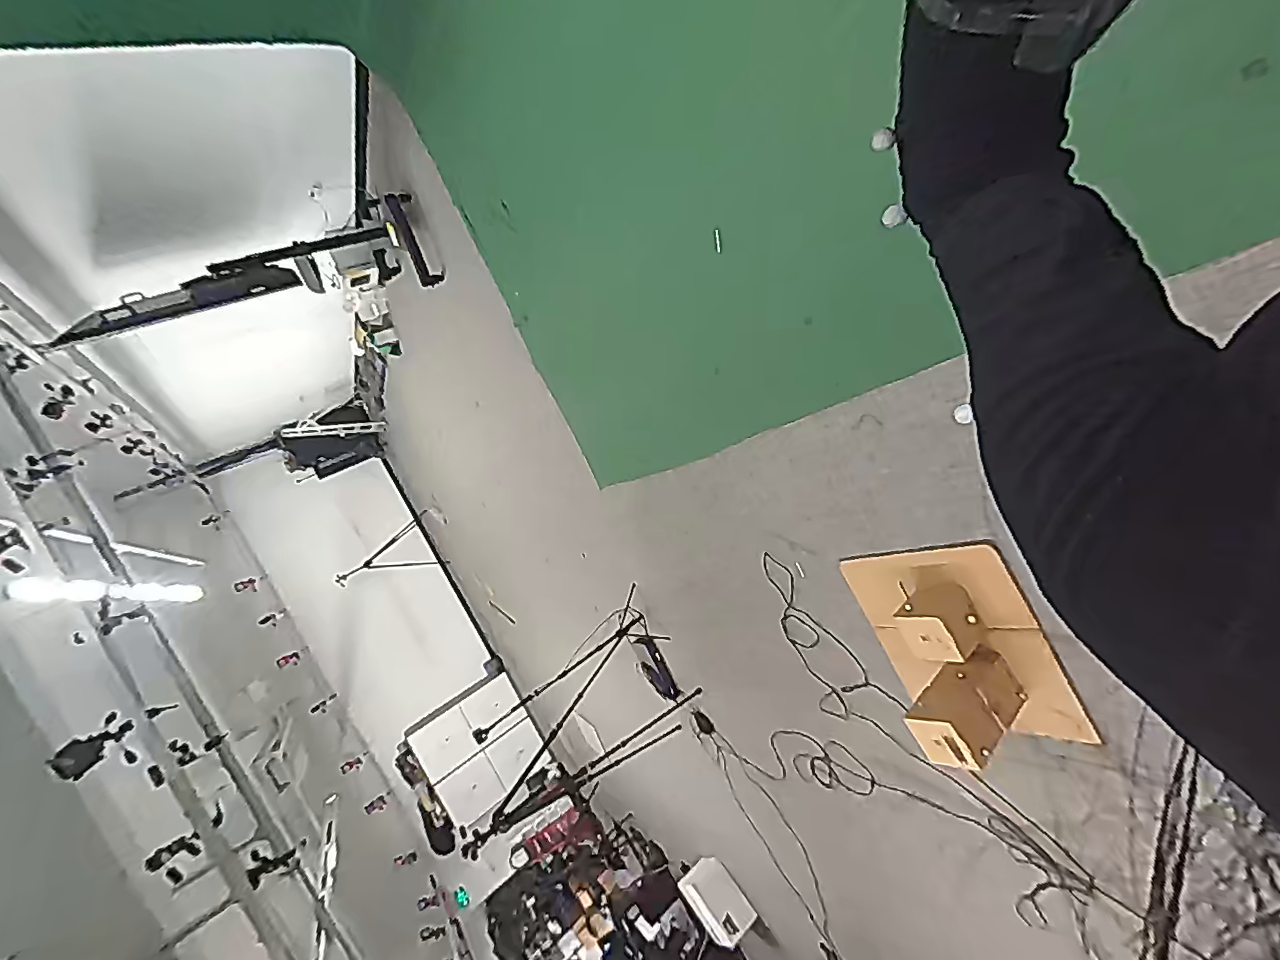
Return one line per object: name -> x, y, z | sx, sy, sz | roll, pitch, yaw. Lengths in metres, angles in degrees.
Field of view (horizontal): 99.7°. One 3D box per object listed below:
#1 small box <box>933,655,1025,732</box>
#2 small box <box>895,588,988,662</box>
small box -> 1.105, 0.685, 1.752 | 0.168, 0.176, 0.179 | 59, 151, 3
small box -> 0.980, 0.467, 1.757 | 0.168, 0.176, 0.179 | 60, 150, -2
